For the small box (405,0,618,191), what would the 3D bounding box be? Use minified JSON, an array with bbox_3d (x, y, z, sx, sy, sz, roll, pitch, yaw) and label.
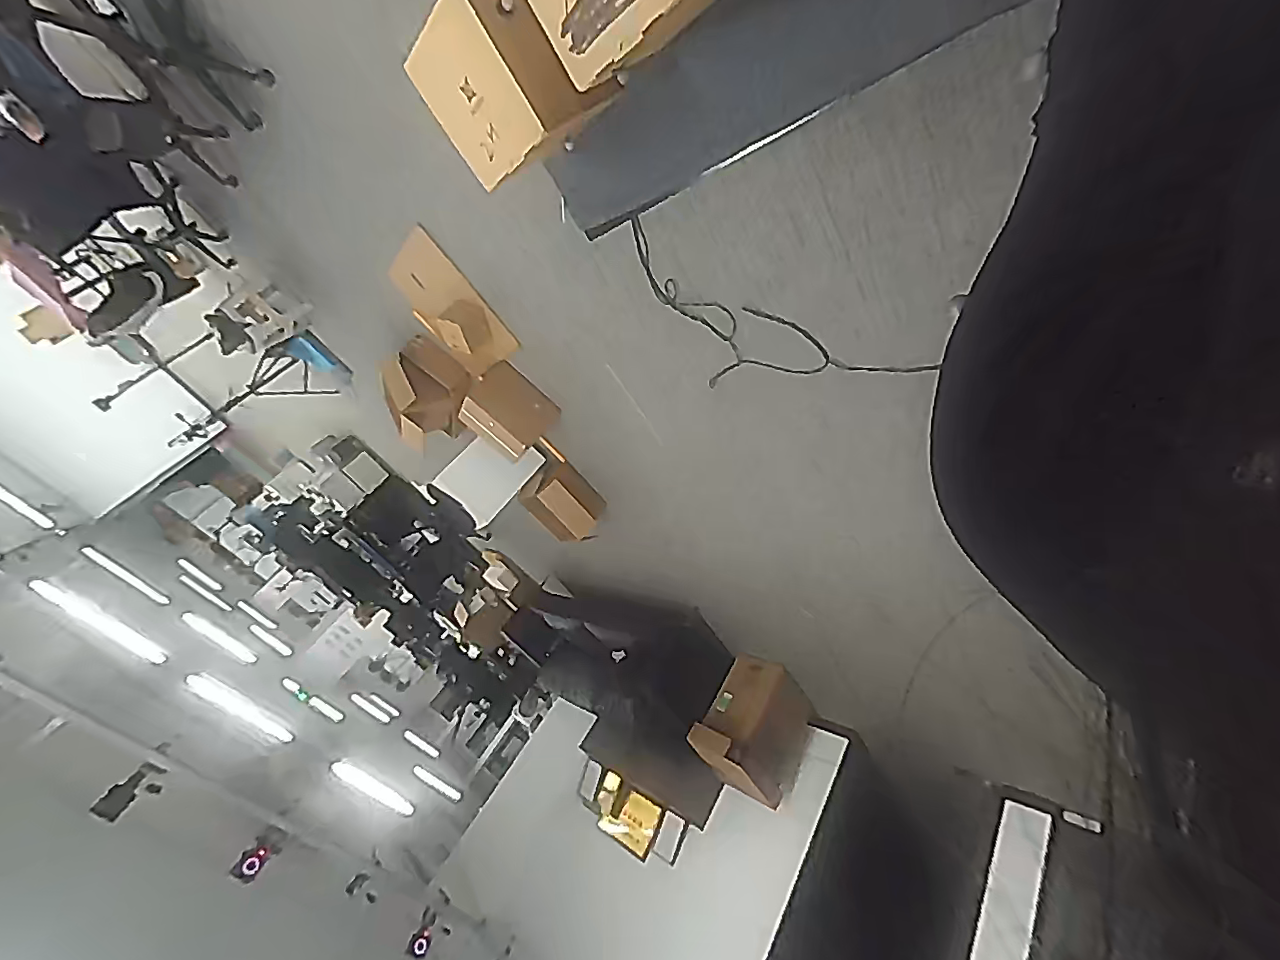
[{"bbox_3d":[-0.164,-0.531,0.717,0.168,0.176,0.179,-4,130,49],"label":"small box"}]
